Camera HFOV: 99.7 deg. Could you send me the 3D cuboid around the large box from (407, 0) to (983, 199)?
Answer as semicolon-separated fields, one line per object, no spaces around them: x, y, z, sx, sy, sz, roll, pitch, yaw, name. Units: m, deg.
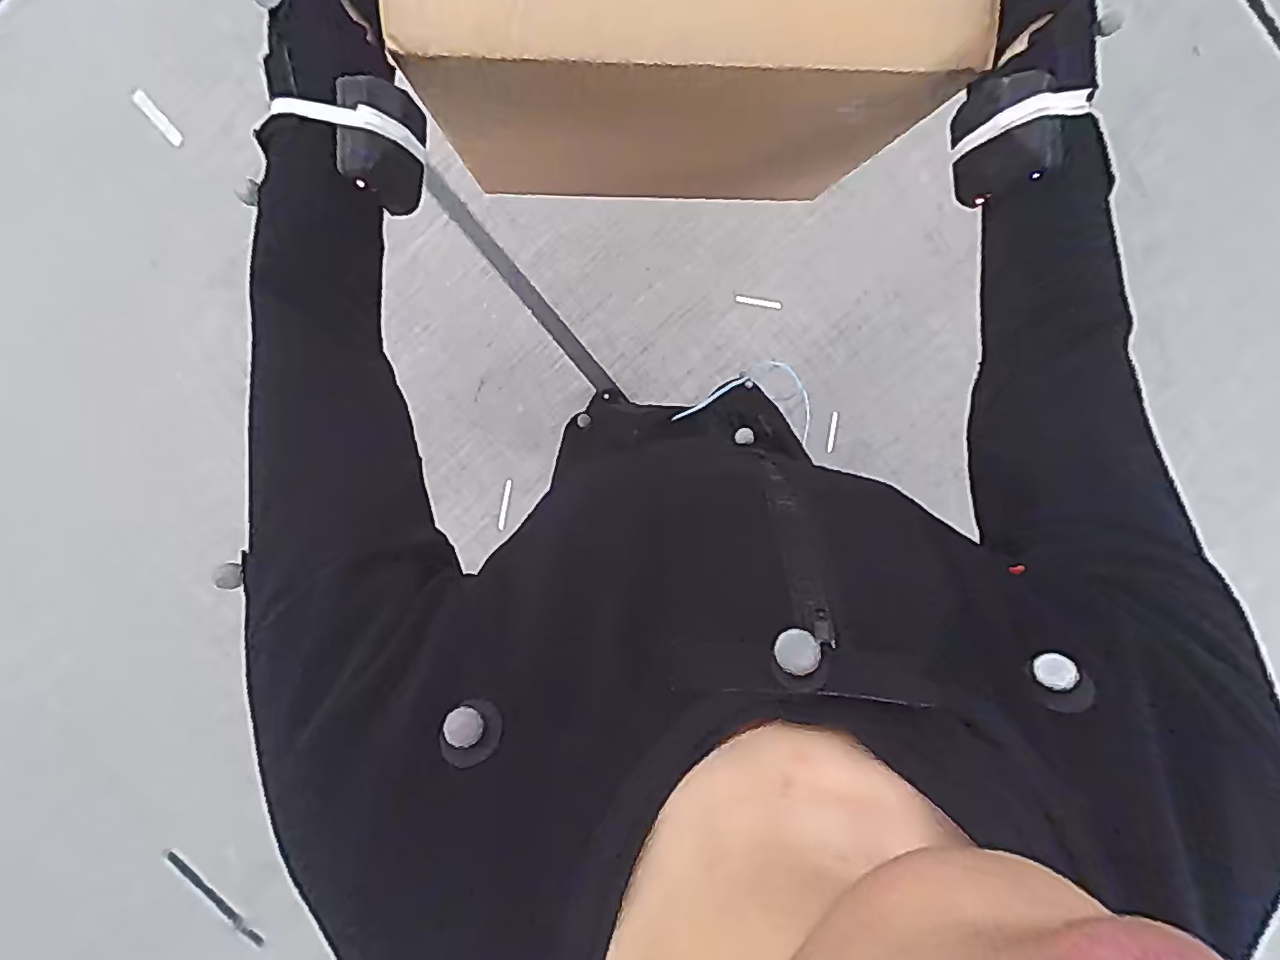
0.030;-0.465;0.486;0.408;0.320;0.320;0;103;-5;large box
